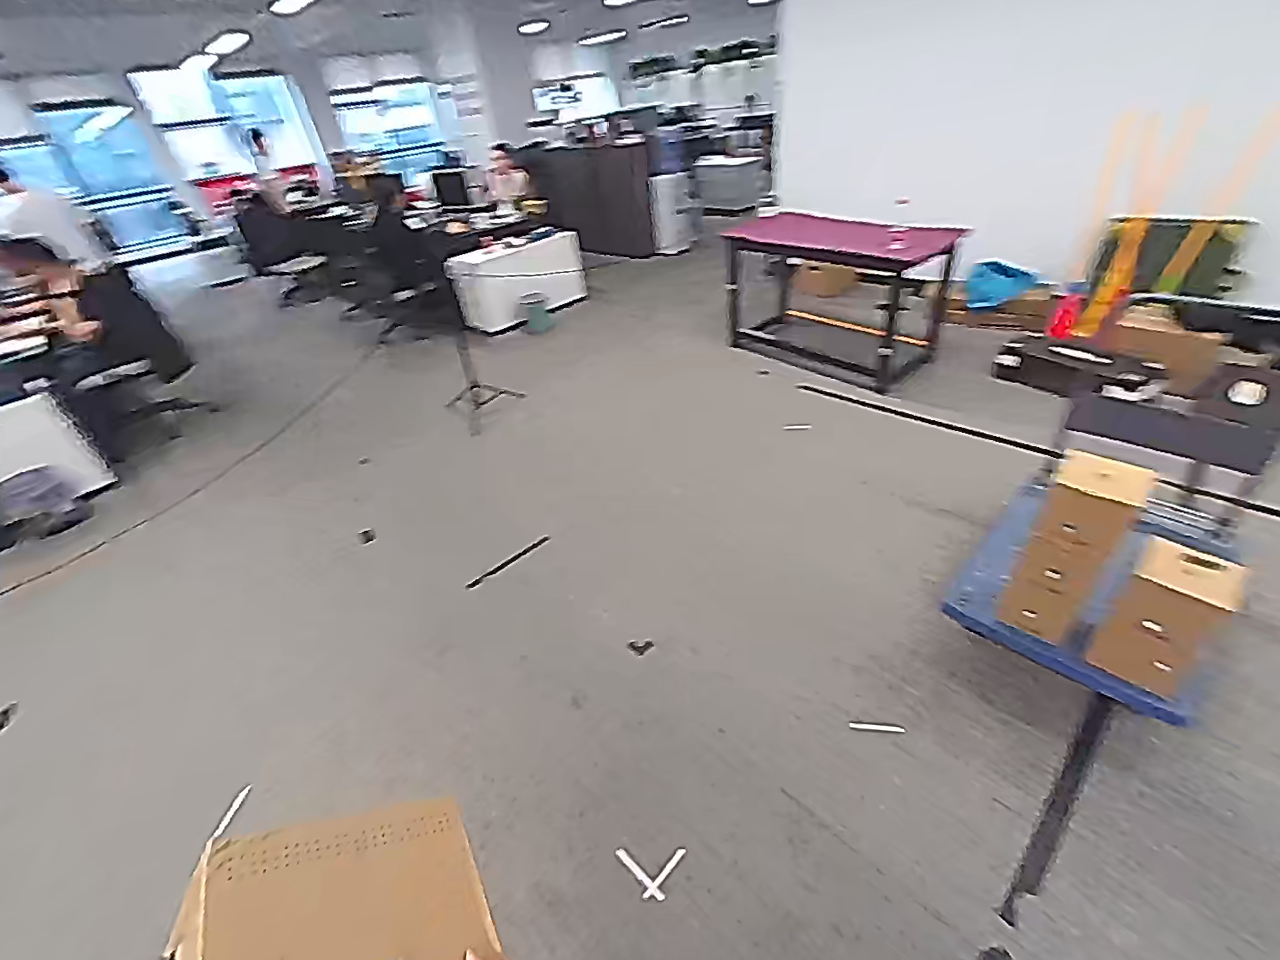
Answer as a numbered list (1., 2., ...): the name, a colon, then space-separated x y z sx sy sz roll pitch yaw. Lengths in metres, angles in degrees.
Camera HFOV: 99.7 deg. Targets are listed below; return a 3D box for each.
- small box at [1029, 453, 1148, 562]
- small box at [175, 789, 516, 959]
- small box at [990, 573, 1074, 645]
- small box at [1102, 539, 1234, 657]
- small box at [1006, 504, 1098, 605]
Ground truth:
1. small box: 1.094 0.066 1.329 0.168 0.176 0.179 27 48 37
2. small box: -0.208 0.350 0.382 0.179 0.168 0.176 18 16 -40
3. small box: 1.118 0.328 1.525 0.168 0.176 0.179 27 47 37
4. small box: 1.249 0.279 1.288 0.179 0.176 0.168 -32 43 -30
5. small box: 1.100 0.196 1.428 0.168 0.176 0.179 25 47 36
